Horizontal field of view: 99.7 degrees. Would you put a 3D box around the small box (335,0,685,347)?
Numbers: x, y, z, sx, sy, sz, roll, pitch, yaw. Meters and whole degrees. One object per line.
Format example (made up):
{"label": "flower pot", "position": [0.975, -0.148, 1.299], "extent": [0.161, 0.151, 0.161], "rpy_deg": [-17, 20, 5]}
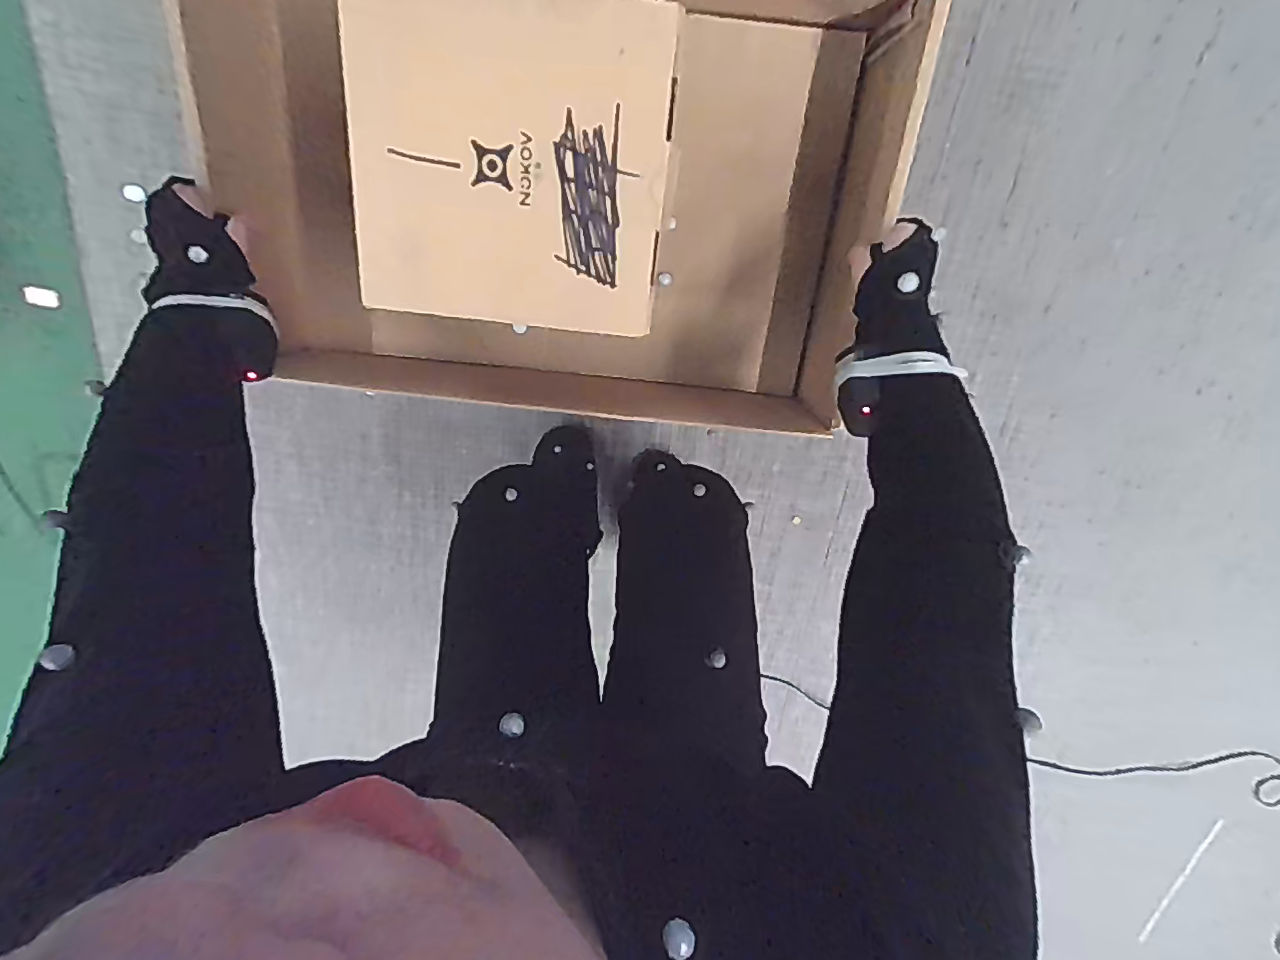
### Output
{"label": "small box", "position": [-0.070, -0.194, 0.368], "extent": [0.179, 0.176, 0.168], "rpy_deg": [7, 111, 0]}
